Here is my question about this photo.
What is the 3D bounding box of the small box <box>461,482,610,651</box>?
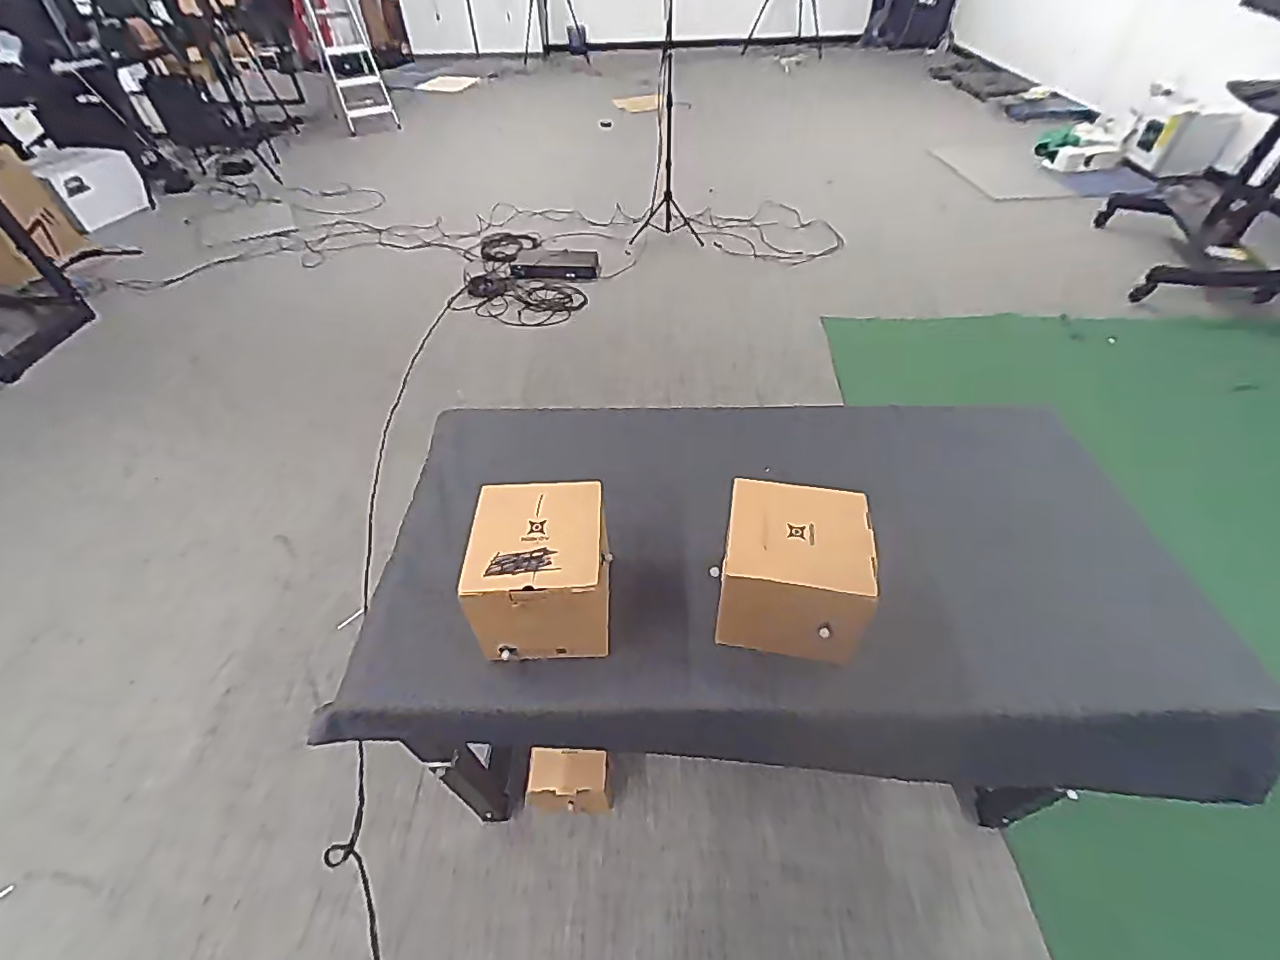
[{"bbox_3d":[-0.129,0.123,0.747,0.168,0.176,0.179,-1,45,0],"label":"small box"}]

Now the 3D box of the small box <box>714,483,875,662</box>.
[{"bbox_3d":[0.202,0.129,0.740,0.179,0.176,0.168,7,46,9],"label":"small box"}]

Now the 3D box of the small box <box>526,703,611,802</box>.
[{"bbox_3d":[-0.158,0.640,1.266,0.168,0.176,0.179,0,47,1],"label":"small box"}]
